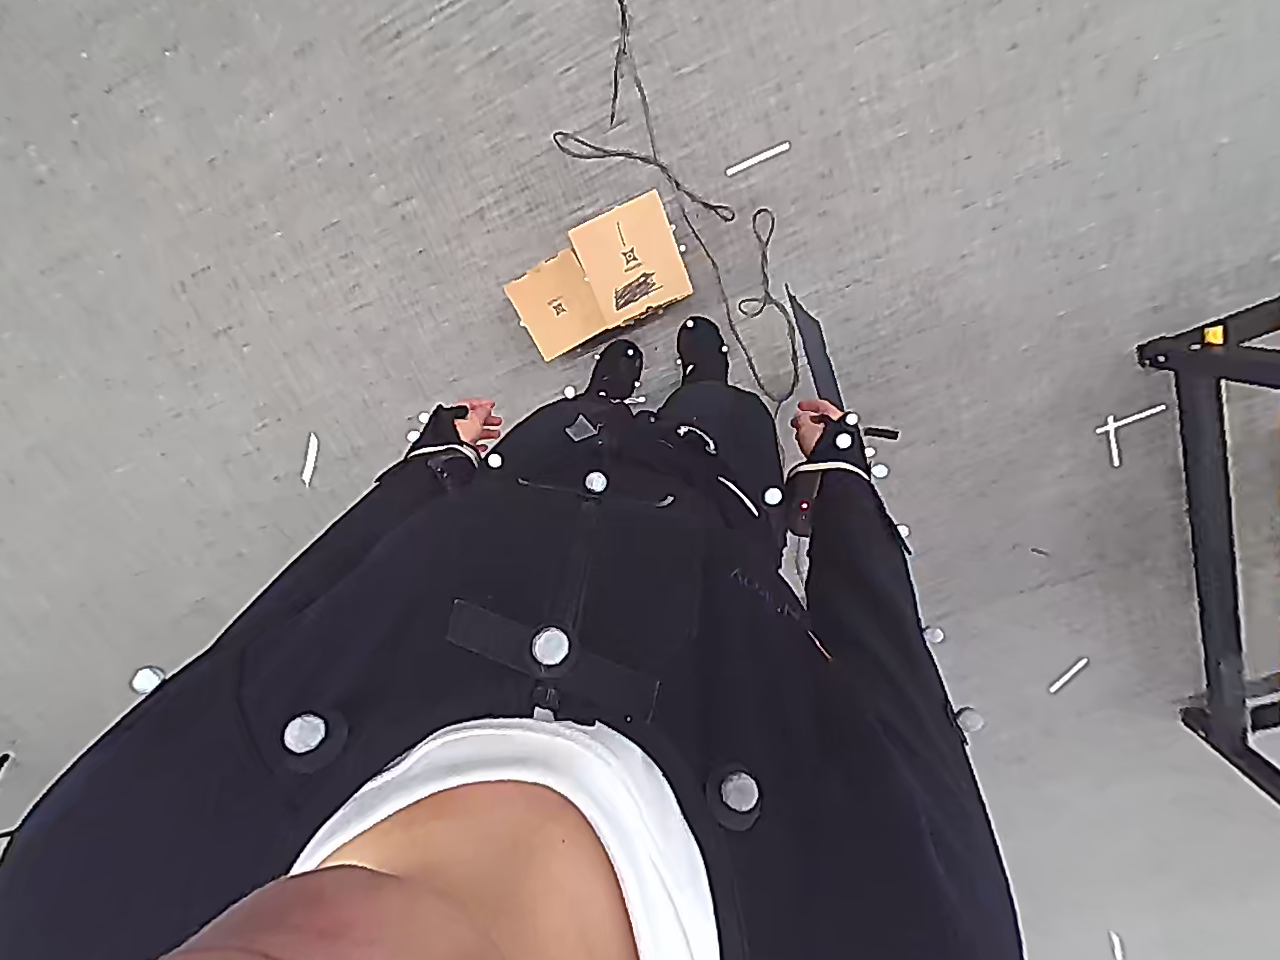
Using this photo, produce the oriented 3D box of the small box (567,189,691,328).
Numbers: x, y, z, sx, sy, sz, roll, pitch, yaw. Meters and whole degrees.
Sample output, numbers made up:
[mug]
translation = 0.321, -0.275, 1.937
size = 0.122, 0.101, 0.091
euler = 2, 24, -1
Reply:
[small box]
translation = -0.012, -0.397, 0.986
size = 0.168, 0.176, 0.179
euler = -20, 107, 10
